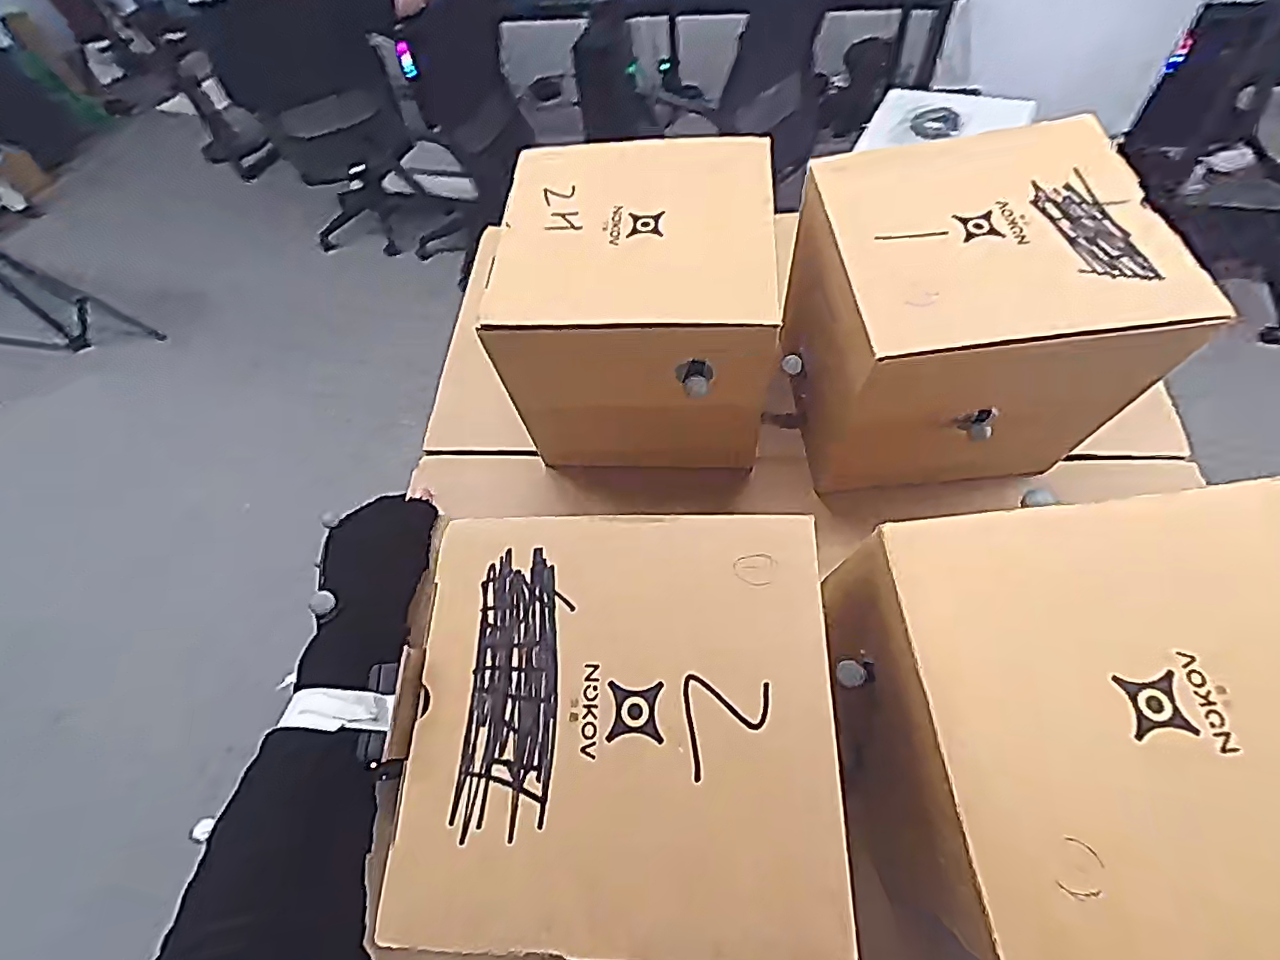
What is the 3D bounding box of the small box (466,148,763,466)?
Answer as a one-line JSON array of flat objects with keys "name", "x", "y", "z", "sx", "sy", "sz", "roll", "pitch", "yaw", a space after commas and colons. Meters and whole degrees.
[{"name": "small box", "x": -0.004, "y": -0.121, "z": 0.417, "sx": 0.179, "sy": 0.176, "sz": 0.168, "roll": 2, "pitch": 63, "yaw": 7}]
